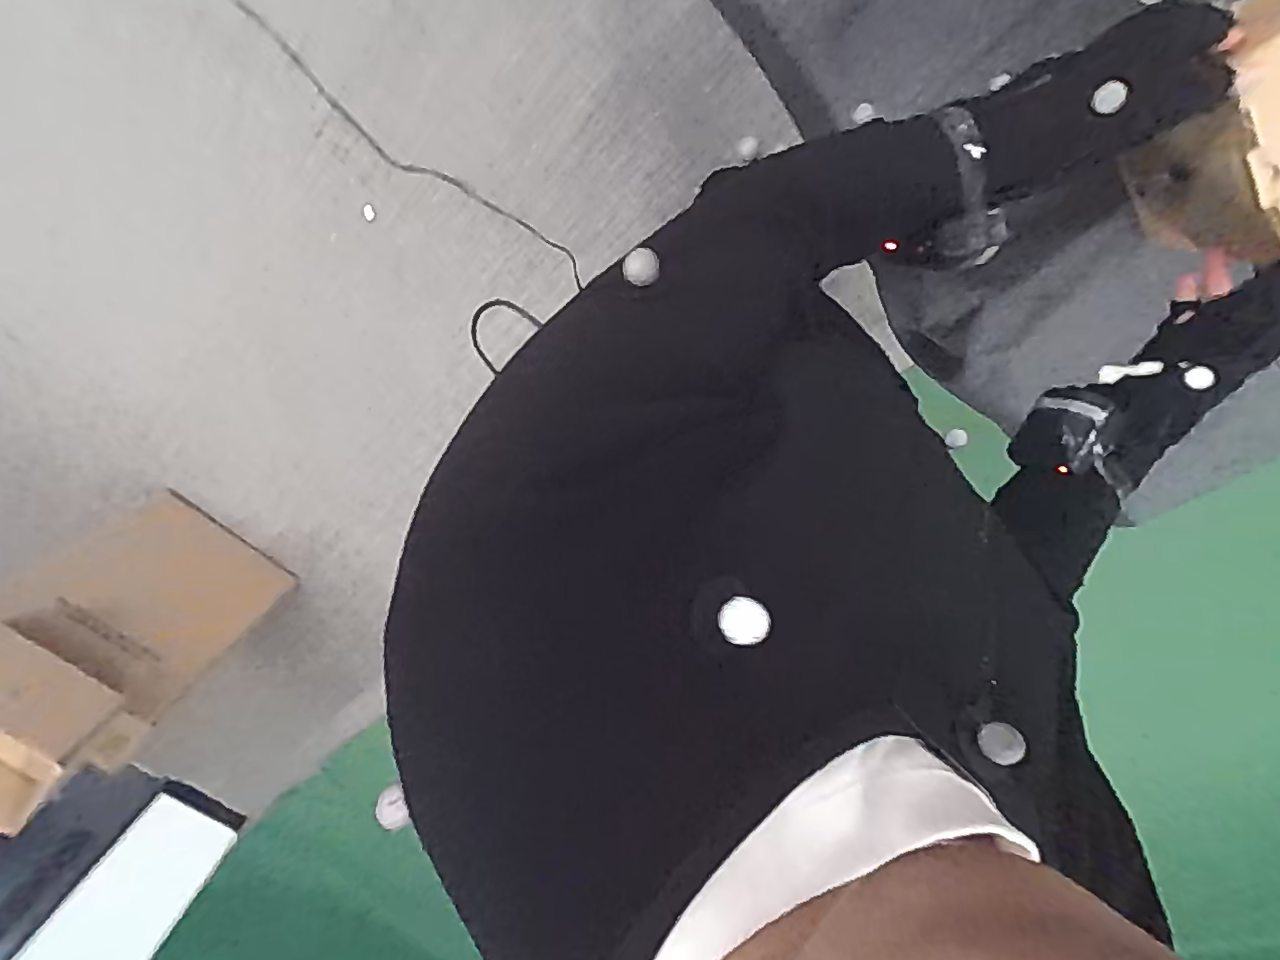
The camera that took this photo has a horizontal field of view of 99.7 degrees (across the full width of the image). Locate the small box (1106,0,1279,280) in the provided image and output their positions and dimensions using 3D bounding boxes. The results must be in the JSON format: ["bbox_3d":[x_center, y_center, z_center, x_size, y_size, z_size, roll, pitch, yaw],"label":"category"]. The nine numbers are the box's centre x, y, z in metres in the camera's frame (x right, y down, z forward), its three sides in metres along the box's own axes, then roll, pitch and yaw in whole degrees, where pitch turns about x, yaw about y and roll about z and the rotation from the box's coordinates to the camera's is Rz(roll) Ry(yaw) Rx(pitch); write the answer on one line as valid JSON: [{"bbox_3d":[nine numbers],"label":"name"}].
[{"bbox_3d":[0.508,-0.285,0.412,0.179,0.176,0.168,-32,110,25],"label":"small box"}]
